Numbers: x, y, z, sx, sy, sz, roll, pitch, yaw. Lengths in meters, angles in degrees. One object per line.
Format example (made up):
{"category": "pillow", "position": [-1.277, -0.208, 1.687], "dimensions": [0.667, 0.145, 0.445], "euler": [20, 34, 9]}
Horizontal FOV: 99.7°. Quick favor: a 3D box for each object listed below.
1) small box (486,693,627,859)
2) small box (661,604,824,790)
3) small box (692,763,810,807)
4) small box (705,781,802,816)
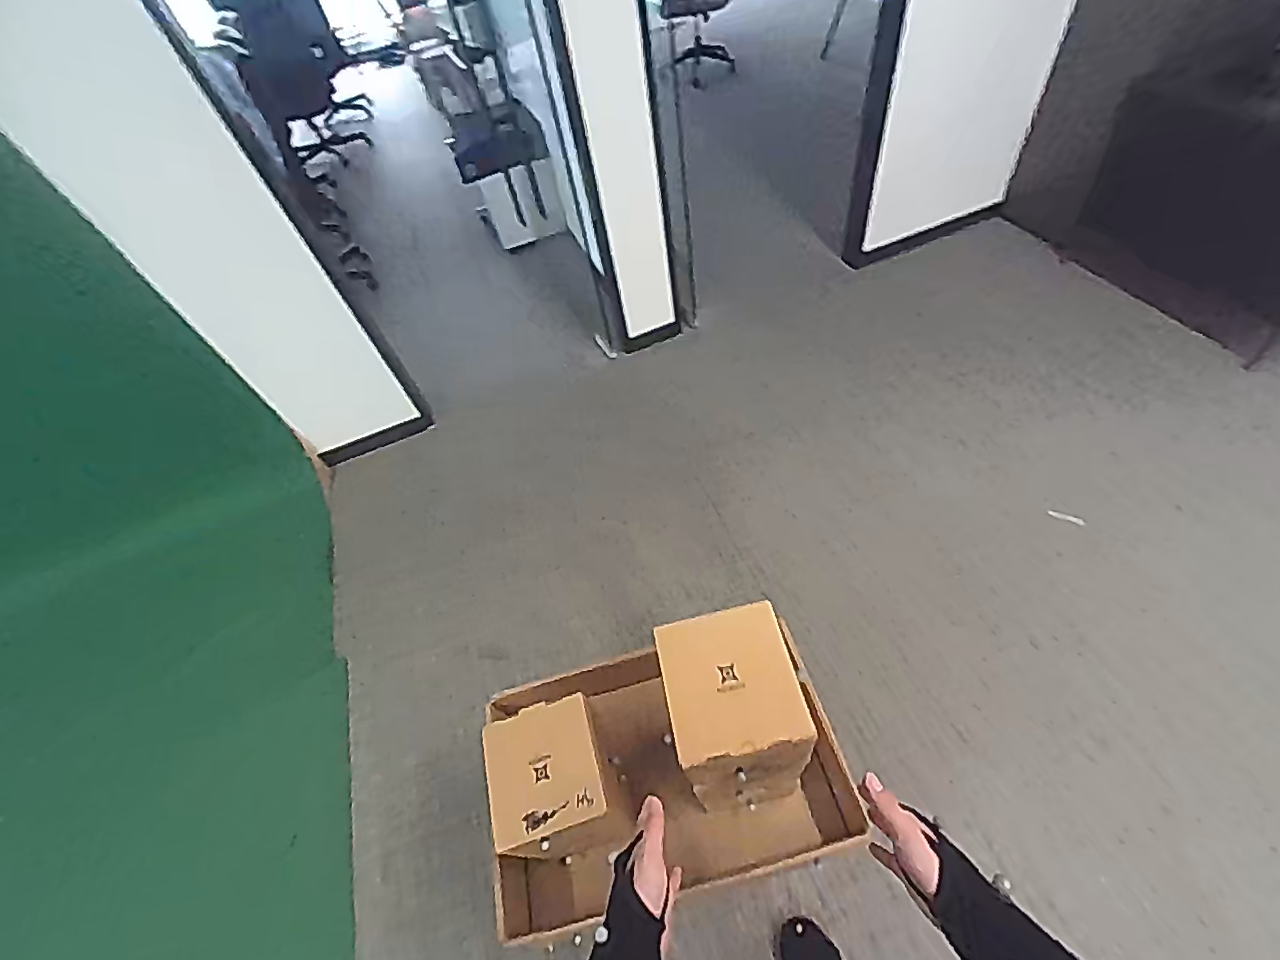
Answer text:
{"category": "small box", "position": [-0.129, 0.469, 0.852], "dimensions": [0.168, 0.176, 0.179], "euler": [-18, 52, -3]}
{"category": "small box", "position": [0.130, 0.296, 0.732], "dimensions": [0.168, 0.176, 0.179], "euler": [-13, 52, 1]}
{"category": "small box", "position": [0.153, 0.396, 0.858], "dimensions": [0.168, 0.176, 0.179], "euler": [-13, 52, 1]}
{"category": "small box", "position": [0.182, 0.491, 0.987], "dimensions": [0.168, 0.176, 0.179], "euler": [-12, 52, 1]}
